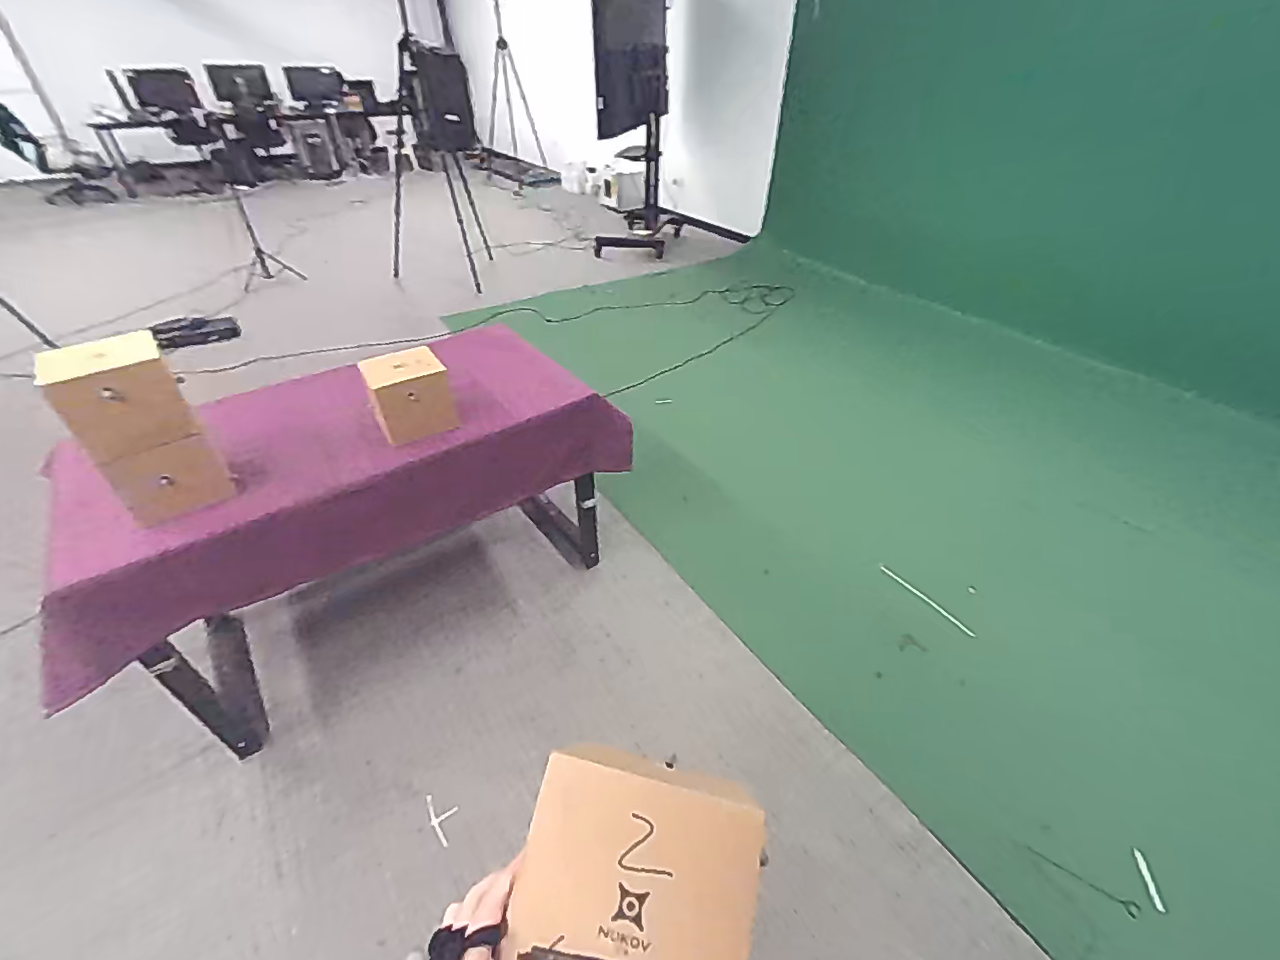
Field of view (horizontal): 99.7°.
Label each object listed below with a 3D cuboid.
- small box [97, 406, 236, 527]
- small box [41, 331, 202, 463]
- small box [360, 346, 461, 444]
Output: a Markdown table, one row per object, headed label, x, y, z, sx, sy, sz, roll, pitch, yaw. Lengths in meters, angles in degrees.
| label | x | y | z | sx | sy | sz | roll | pitch | yaw |
| --- | --- | --- | --- | --- | --- | --- | --- | --- | --- |
| small box | -0.995 | -0.034 | 1.147 | 0.179 | 0.176 | 0.168 | -28 | 47 | -29 |
| small box | -0.991 | -0.163 | 1.047 | 0.179 | 0.176 | 0.168 | -29 | 47 | -30 |
| small box | -0.578 | -0.214 | 1.372 | 0.179 | 0.176 | 0.168 | -22 | 45 | -25 |
